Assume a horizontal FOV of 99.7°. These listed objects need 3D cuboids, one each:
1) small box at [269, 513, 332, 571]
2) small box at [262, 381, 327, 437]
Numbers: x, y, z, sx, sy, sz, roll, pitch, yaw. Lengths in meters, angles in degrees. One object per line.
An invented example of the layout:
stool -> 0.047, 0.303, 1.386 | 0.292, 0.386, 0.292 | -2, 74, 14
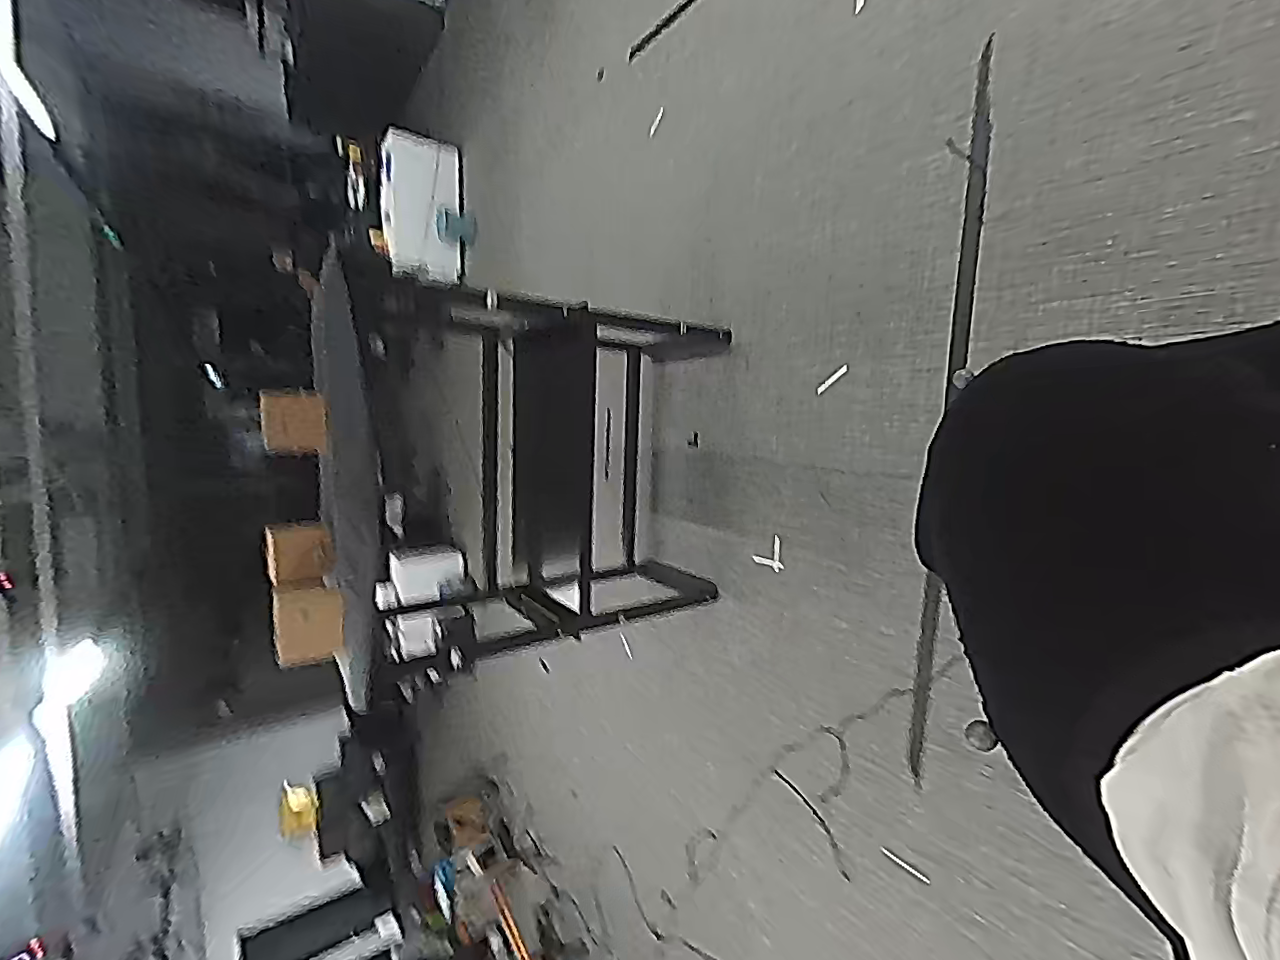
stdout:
small box -> -1.135, 0.200, 1.808 | 0.179, 0.176, 0.168 | 0, 93, 54
small box -> -1.133, -0.232, 1.774 | 0.168, 0.176, 0.179 | 11, 101, 52
